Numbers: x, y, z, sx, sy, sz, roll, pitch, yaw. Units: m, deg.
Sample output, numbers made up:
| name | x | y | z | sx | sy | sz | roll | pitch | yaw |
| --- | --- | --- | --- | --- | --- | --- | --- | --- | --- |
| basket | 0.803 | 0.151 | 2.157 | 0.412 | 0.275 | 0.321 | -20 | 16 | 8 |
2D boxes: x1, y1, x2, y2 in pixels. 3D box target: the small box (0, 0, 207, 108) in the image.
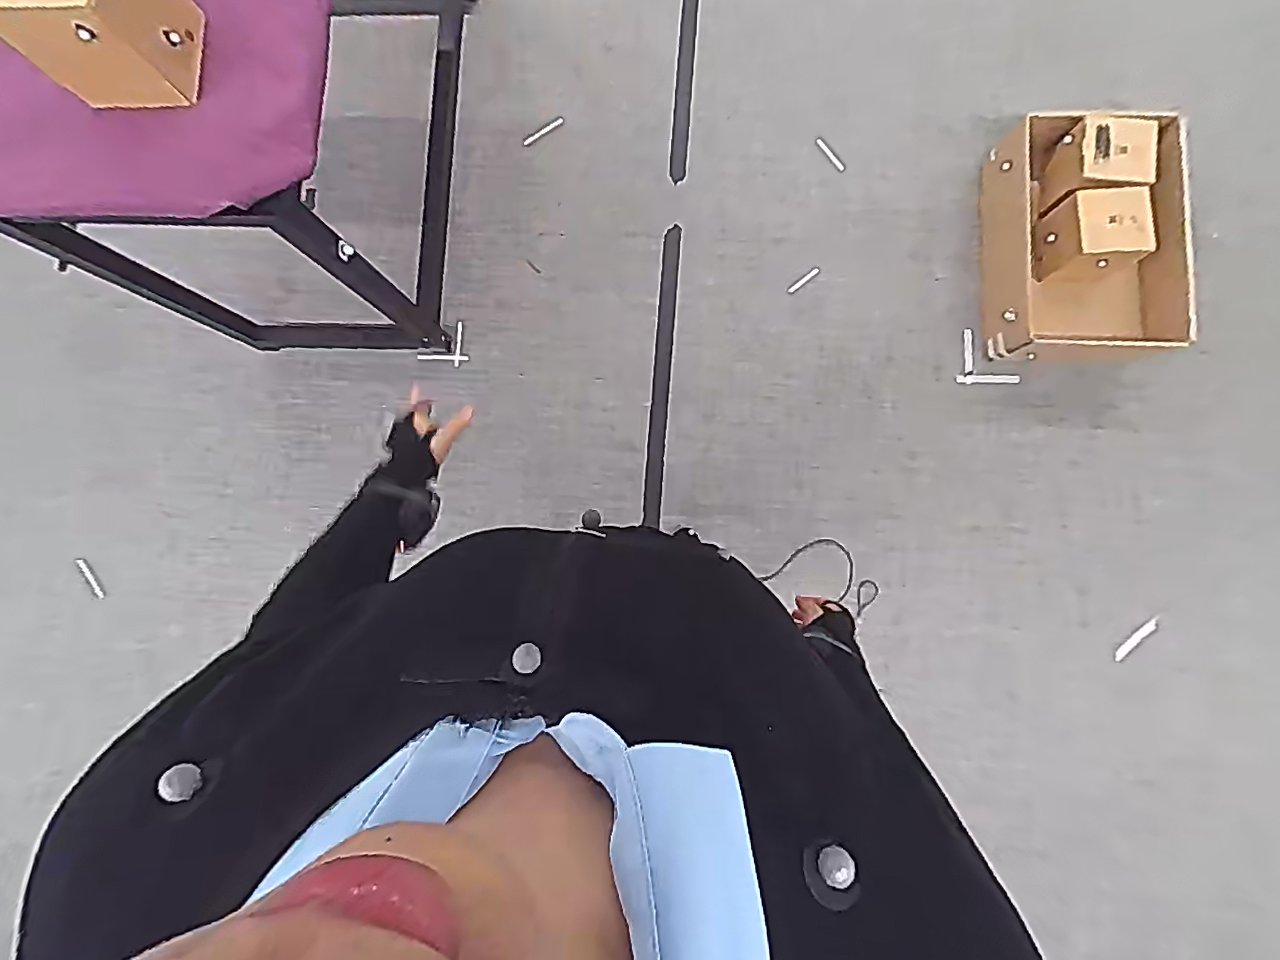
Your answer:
| name | x | y | z | sx | sy | sz | roll | pitch | yaw |
| --- | --- | --- | --- | --- | --- | --- | --- | --- | --- |
| small box | -0.805 | -0.692 | 0.806 | 0.179 | 0.176 | 0.168 | 0 | 83 | 2 |

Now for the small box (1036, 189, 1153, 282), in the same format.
| name | x | y | z | sx | sy | sz | roll | pitch | yaw |
| --- | --- | --- | --- | --- | --- | --- | --- | --- | --- |
| small box | 1.174 | -0.632 | 1.415 | 0.179 | 0.176 | 0.168 | -2 | 85 | 2 |
